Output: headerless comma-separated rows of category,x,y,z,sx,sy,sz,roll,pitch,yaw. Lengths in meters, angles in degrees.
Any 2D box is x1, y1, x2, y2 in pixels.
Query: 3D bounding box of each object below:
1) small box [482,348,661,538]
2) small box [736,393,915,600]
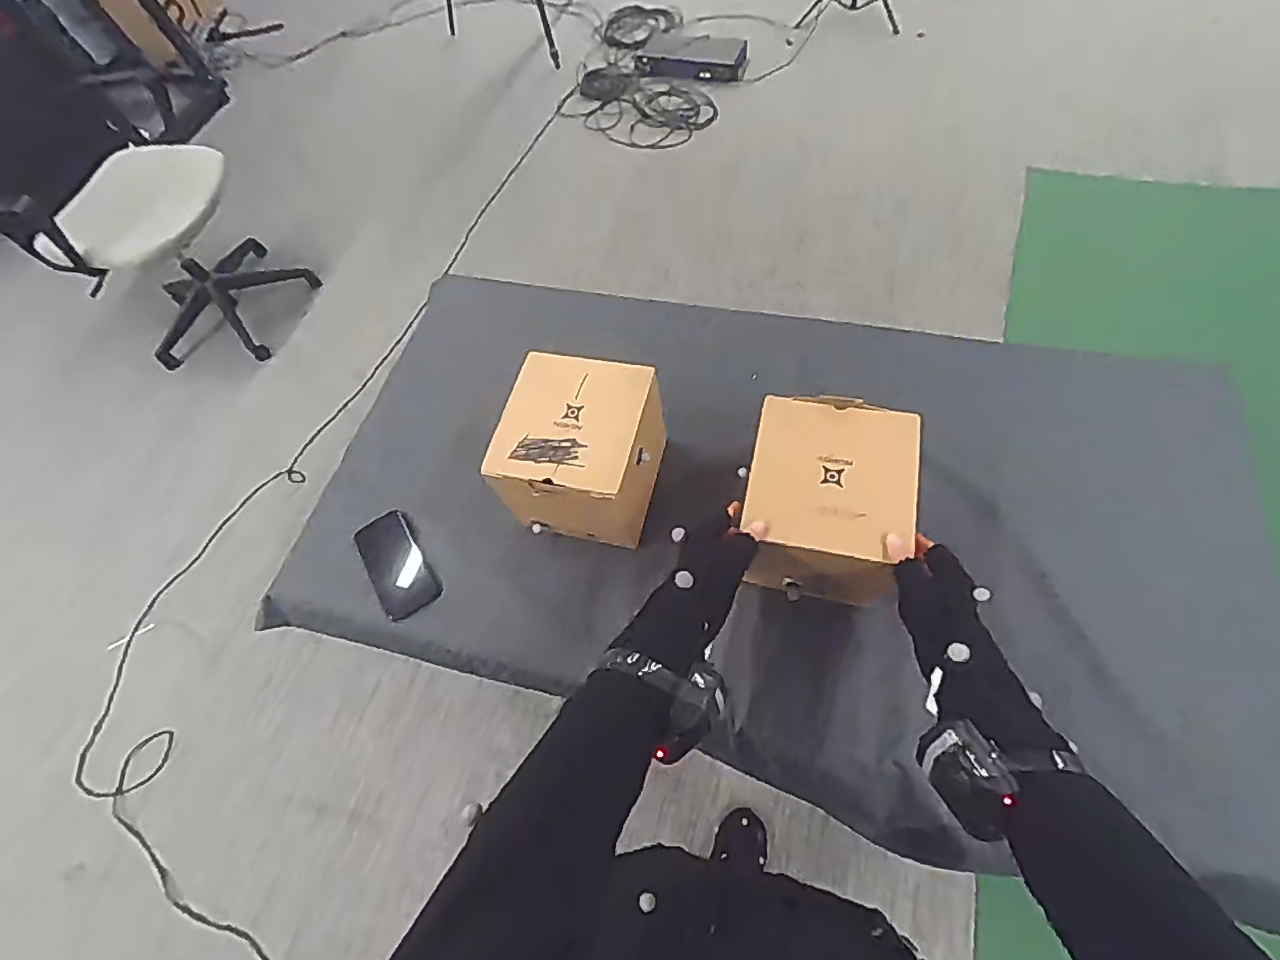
small box,-0.073,-0.040,0.700,0.168,0.176,0.179,10,65,12
small box,0.208,0.025,0.636,0.168,0.176,0.179,9,67,13
